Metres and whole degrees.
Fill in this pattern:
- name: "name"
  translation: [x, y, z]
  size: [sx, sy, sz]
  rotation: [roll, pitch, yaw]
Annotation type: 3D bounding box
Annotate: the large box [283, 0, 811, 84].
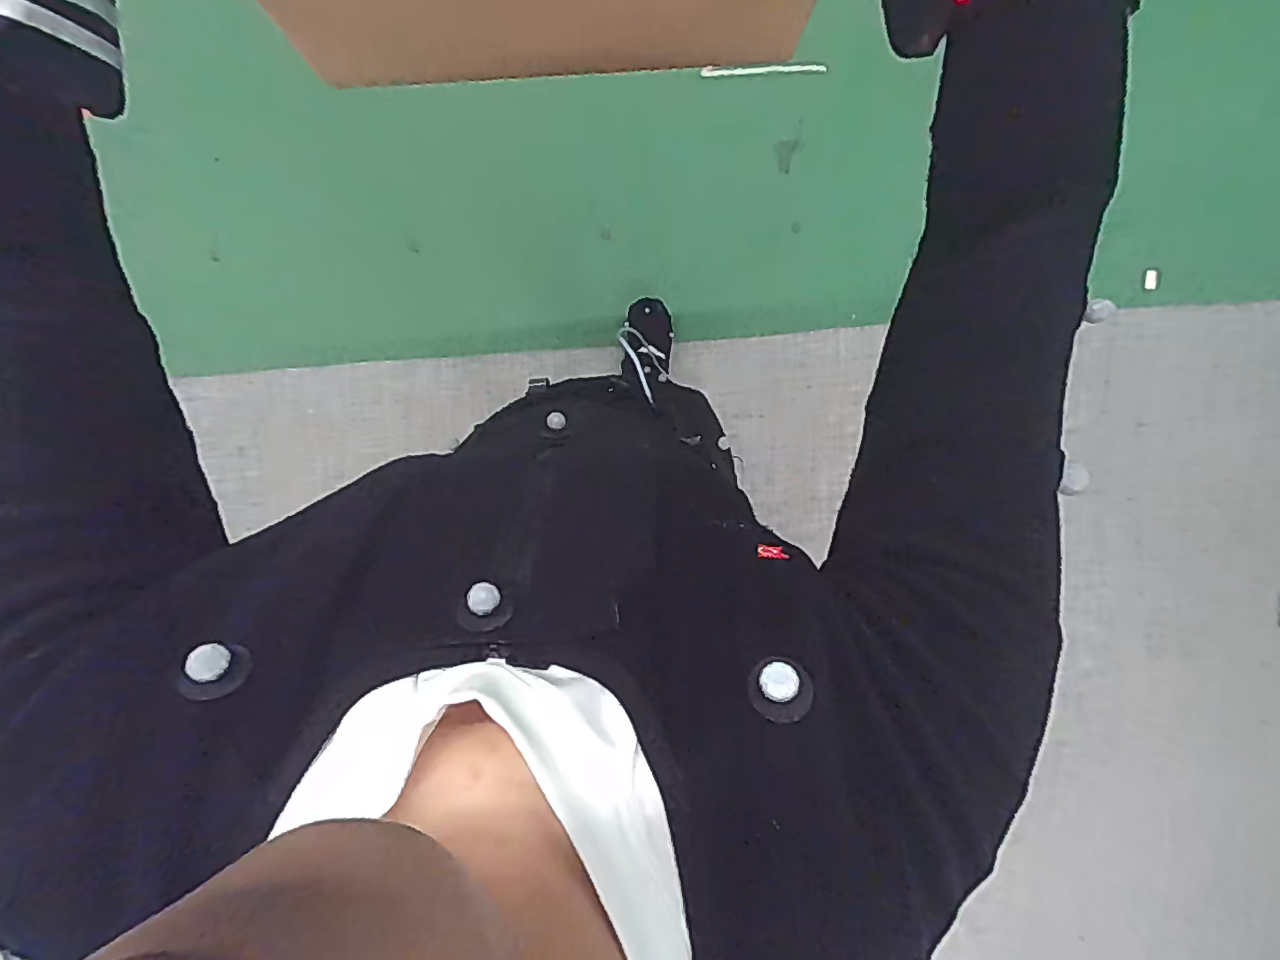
- name: "large box"
  translation: [-0.069, -0.498, 0.315]
  size: [0.408, 0.320, 0.320]
  rotation: [-5, 96, -2]
